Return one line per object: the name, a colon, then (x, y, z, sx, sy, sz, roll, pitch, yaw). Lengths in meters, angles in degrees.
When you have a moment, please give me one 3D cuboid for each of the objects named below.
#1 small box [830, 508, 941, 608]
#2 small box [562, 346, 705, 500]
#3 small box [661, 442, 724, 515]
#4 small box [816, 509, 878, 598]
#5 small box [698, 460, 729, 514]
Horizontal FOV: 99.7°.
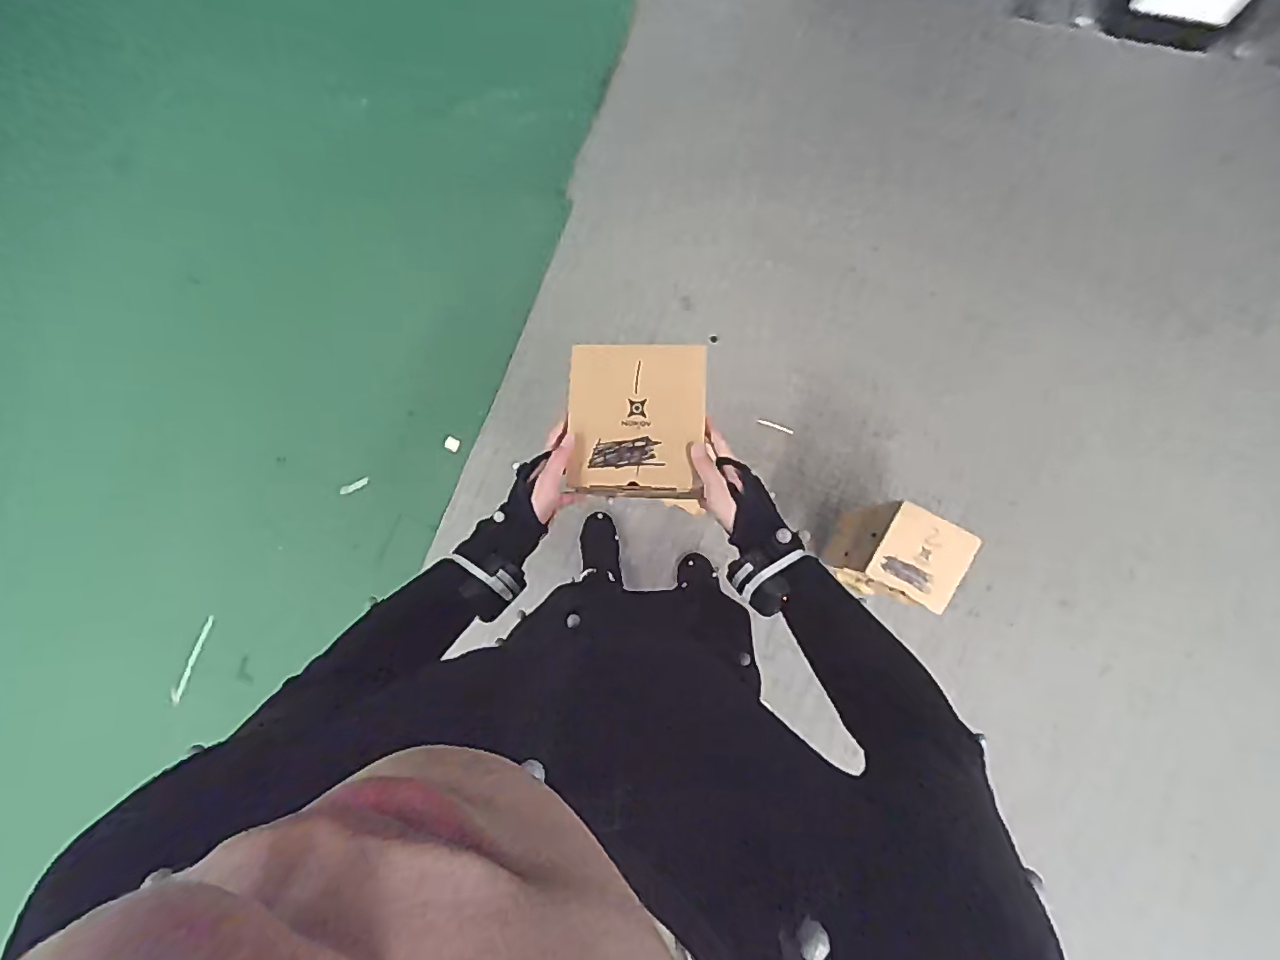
small box: (0.587, 0.184, 1.320, 0.168, 0.176, 0.179, 29, 90, 9)
small box: (0.001, -0.066, 0.718, 0.168, 0.176, 0.179, 2, 84, 6)
small box: (0.113, -0.021, 1.409, 0.168, 0.176, 0.179, 27, 91, 10)
small box: (0.603, 0.197, 1.479, 0.168, 0.176, 0.179, 34, 92, 12)
small box: (0.143, -0.008, 1.569, 0.179, 0.176, 0.168, 28, 90, 10)
